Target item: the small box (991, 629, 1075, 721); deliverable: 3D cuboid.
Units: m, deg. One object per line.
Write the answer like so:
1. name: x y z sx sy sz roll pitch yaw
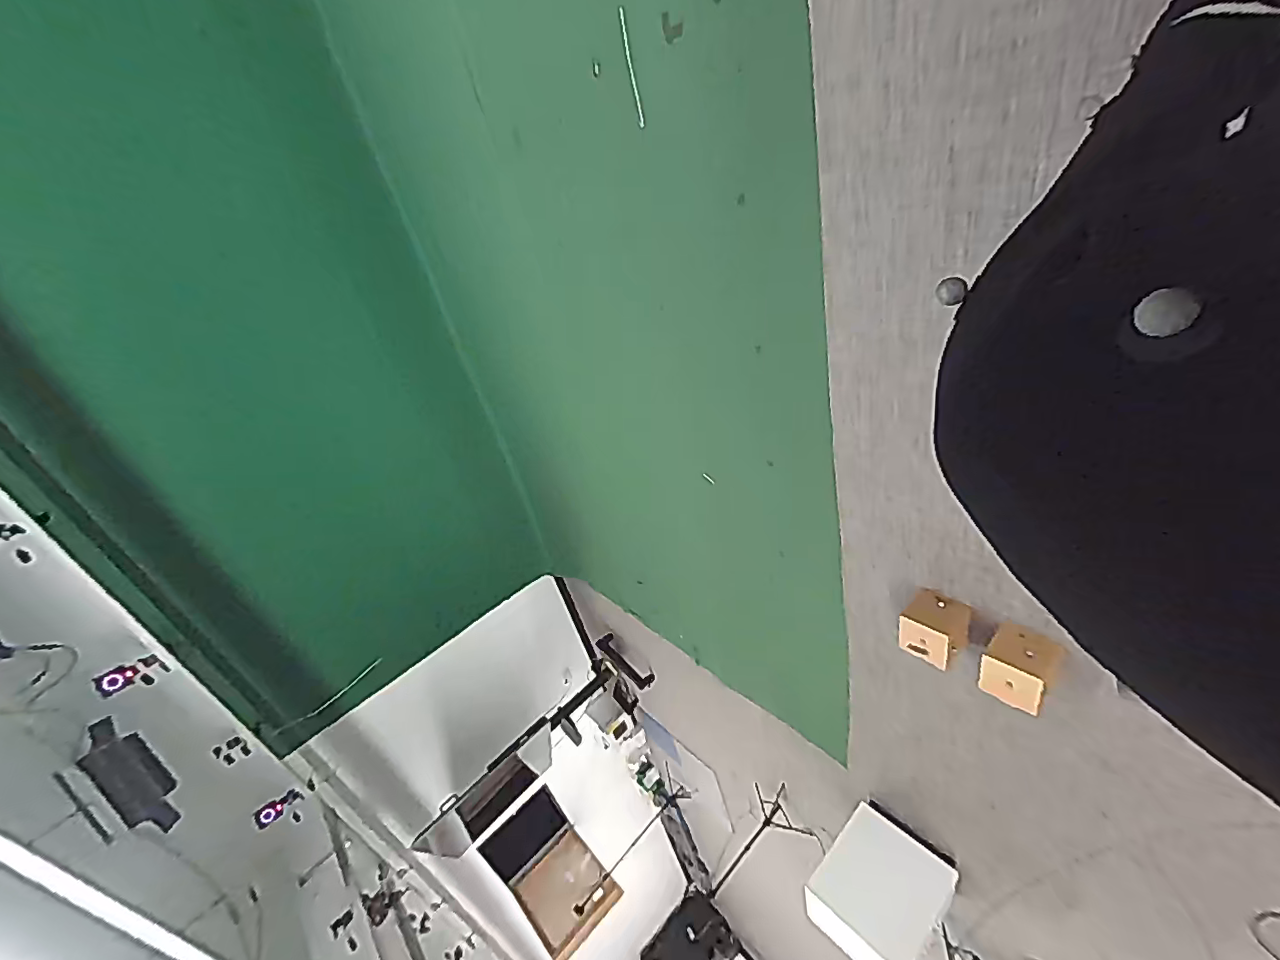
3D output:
1. small box: 1.234 0.603 1.698 0.168 0.176 0.179 21 137 48

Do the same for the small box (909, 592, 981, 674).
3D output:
1. small box: 1.065 0.529 1.886 0.168 0.176 0.179 22 136 47
